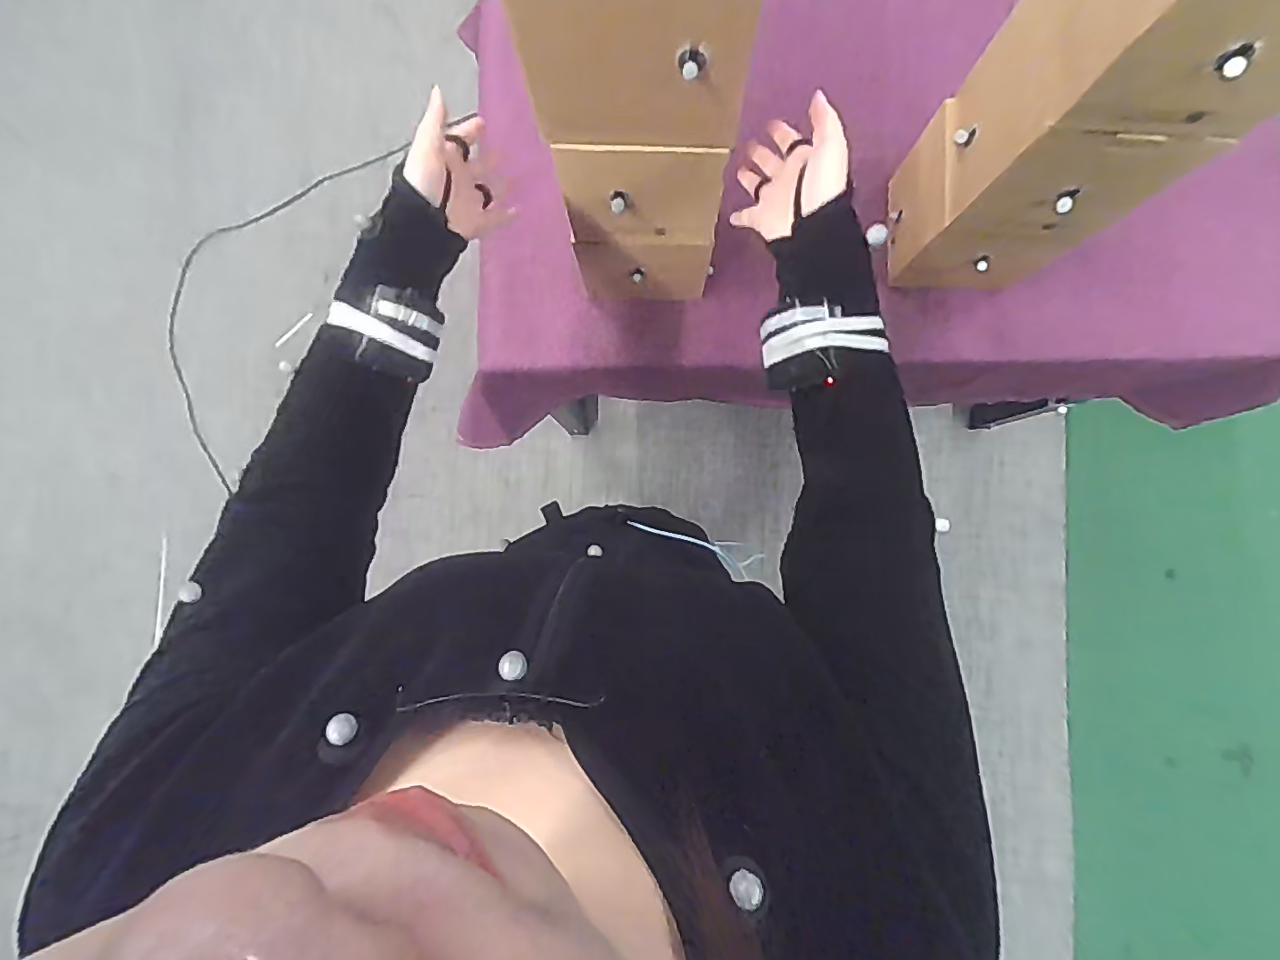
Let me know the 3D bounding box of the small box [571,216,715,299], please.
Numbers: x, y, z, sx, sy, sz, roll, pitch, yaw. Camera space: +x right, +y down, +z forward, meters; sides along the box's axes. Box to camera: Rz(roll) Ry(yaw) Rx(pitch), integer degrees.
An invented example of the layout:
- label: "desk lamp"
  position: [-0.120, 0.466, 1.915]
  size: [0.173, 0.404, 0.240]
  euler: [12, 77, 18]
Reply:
- label: "small box"
  position: [0.007, -0.359, 0.739]
  size: [0.179, 0.176, 0.168]
  euler: [1, 85, 2]

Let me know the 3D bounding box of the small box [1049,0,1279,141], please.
- label: "small box"
  position: [0.444, -0.389, 0.402]
  size: [0.168, 0.176, 0.179]
  euler: [5, 85, 2]

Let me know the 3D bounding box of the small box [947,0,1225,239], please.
- label: "small box"
  position: [0.450, -0.378, 0.567]
  size: [0.168, 0.176, 0.179]
  euler: [6, 87, 2]

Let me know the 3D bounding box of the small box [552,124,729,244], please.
- label: "small box"
  position: [0.007, -0.374, 0.578]
  size: [0.168, 0.176, 0.179]
  euler: [2, 85, 1]

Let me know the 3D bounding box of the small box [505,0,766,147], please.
- label: "small box"
  position: [0.002, -0.388, 0.415]
  size: [0.179, 0.176, 0.168]
  euler: [3, 84, 2]
